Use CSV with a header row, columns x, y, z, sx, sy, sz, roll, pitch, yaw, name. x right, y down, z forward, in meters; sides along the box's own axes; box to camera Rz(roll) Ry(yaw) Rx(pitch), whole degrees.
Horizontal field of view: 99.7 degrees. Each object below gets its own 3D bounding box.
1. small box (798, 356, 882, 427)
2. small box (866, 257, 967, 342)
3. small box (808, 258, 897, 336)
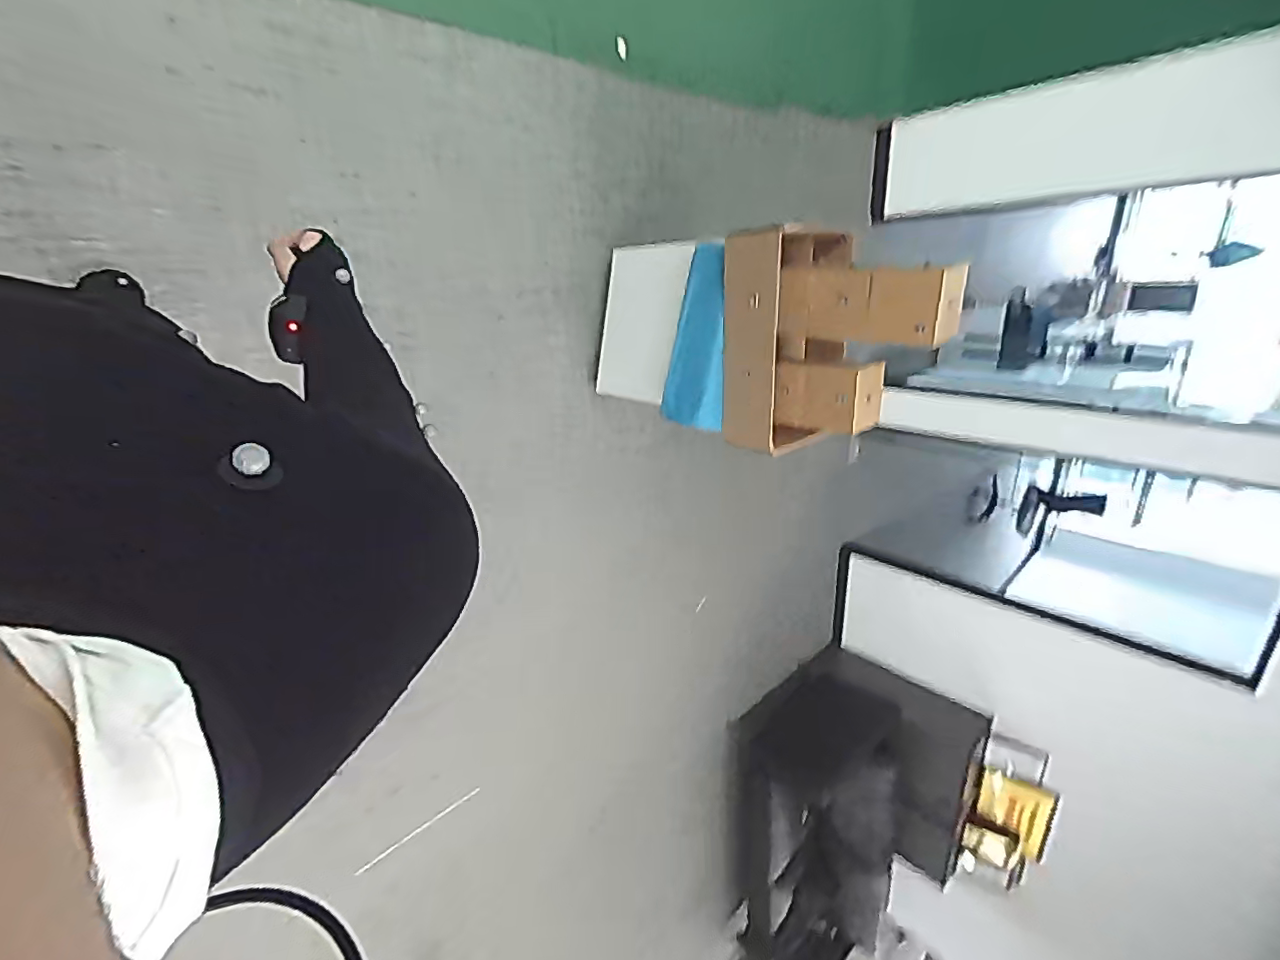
x,y,z,sx,sy,sz,roll,pitch,yaw,name
0.564,-0.258,1.536,0.168,0.176,0.179,-19,116,-40,small box
0.685,-0.455,1.351,0.168,0.176,0.179,-27,124,-37,small box
0.570,-0.495,1.460,0.168,0.176,0.179,-26,122,-37,small box
